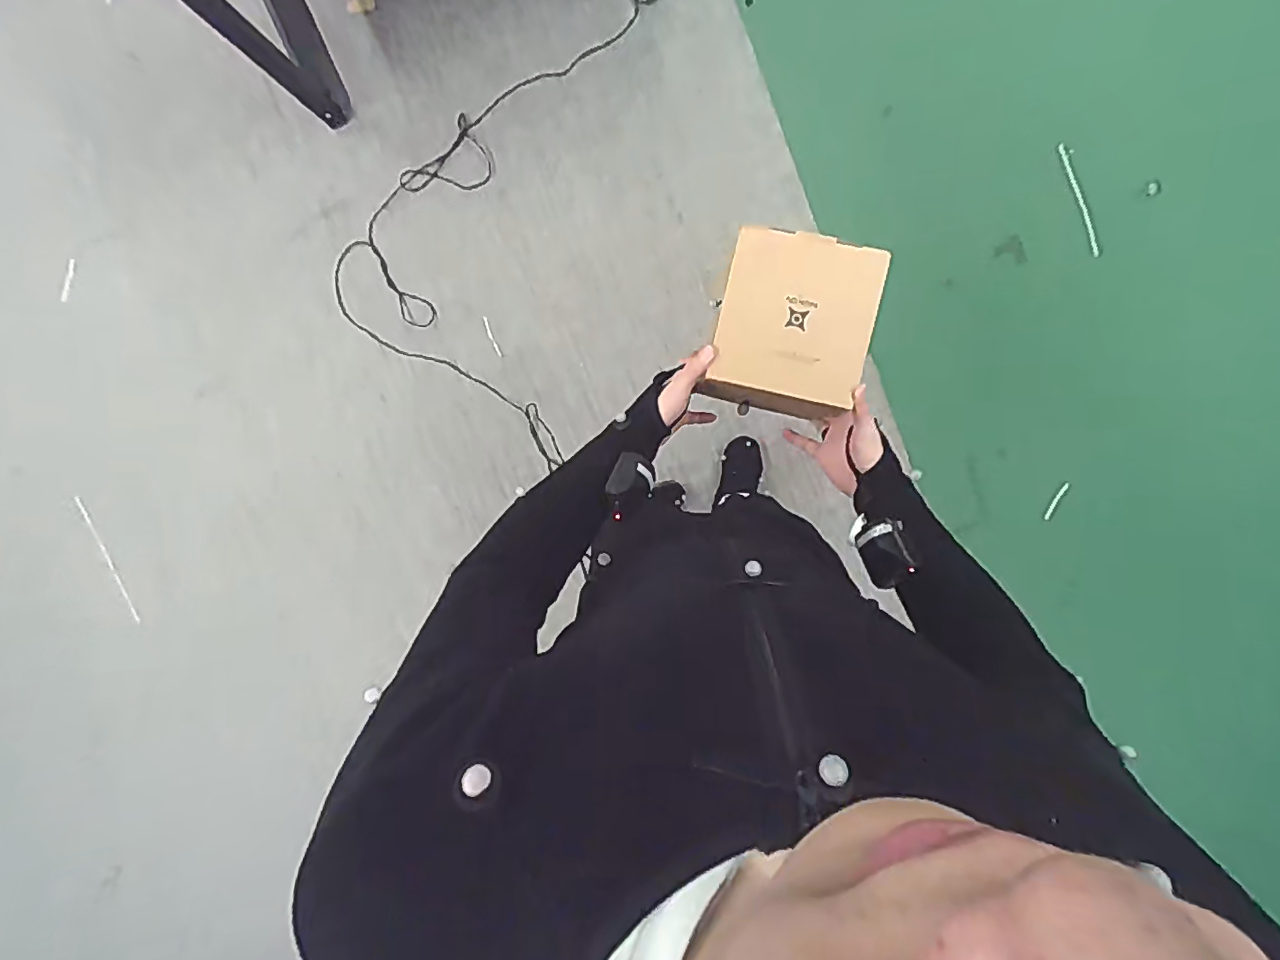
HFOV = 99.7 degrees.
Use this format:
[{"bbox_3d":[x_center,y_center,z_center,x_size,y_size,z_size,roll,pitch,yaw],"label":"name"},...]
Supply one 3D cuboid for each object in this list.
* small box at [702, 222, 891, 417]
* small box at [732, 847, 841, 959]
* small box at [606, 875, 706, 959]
[{"bbox_3d":[0.176,-0.182,0.667,0.168,0.176,0.179,13,94,1],"label":"small box"},{"bbox_3d":[0.290,0.875,1.063,0.168,0.176,0.179,-18,95,5],"label":"small box"},{"bbox_3d":[0.039,0.951,1.091,0.168,0.176,0.179,-13,96,5],"label":"small box"}]
